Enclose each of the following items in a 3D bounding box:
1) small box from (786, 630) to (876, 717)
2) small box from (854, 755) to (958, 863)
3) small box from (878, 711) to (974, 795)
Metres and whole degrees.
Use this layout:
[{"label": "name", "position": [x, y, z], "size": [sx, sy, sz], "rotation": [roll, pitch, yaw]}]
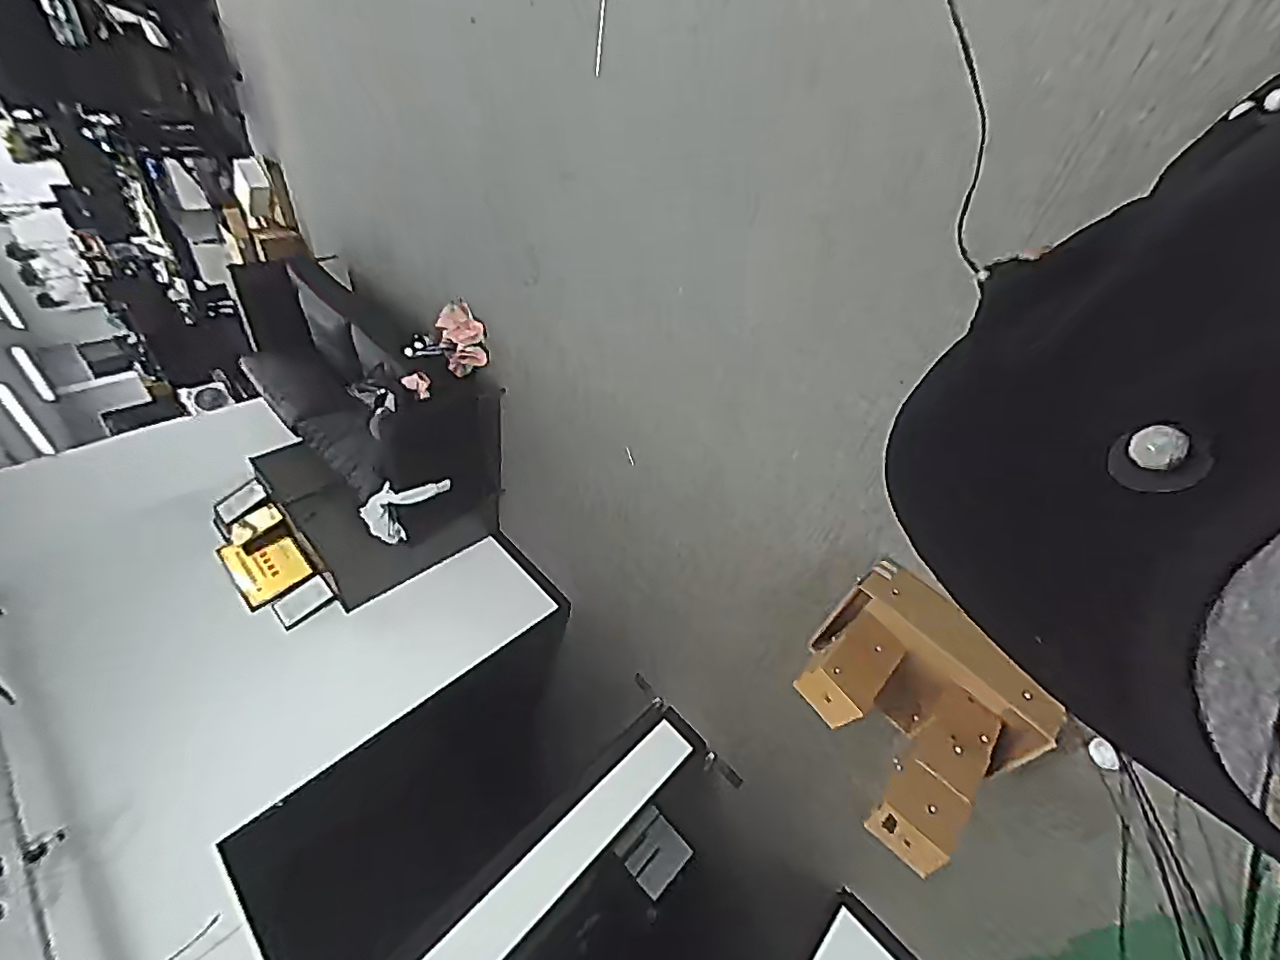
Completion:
[{"label": "small box", "position": [0.612, 0.614, 1.722], "size": [0.179, 0.176, 0.168], "rotation": [48, 141, 15]}, {"label": "small box", "position": [0.732, 0.894, 1.490], "size": [0.179, 0.176, 0.168], "rotation": [35, 137, 27]}, {"label": "small box", "position": [0.842, 0.822, 1.588], "size": [0.168, 0.176, 0.179], "rotation": [38, 137, 25]}]
